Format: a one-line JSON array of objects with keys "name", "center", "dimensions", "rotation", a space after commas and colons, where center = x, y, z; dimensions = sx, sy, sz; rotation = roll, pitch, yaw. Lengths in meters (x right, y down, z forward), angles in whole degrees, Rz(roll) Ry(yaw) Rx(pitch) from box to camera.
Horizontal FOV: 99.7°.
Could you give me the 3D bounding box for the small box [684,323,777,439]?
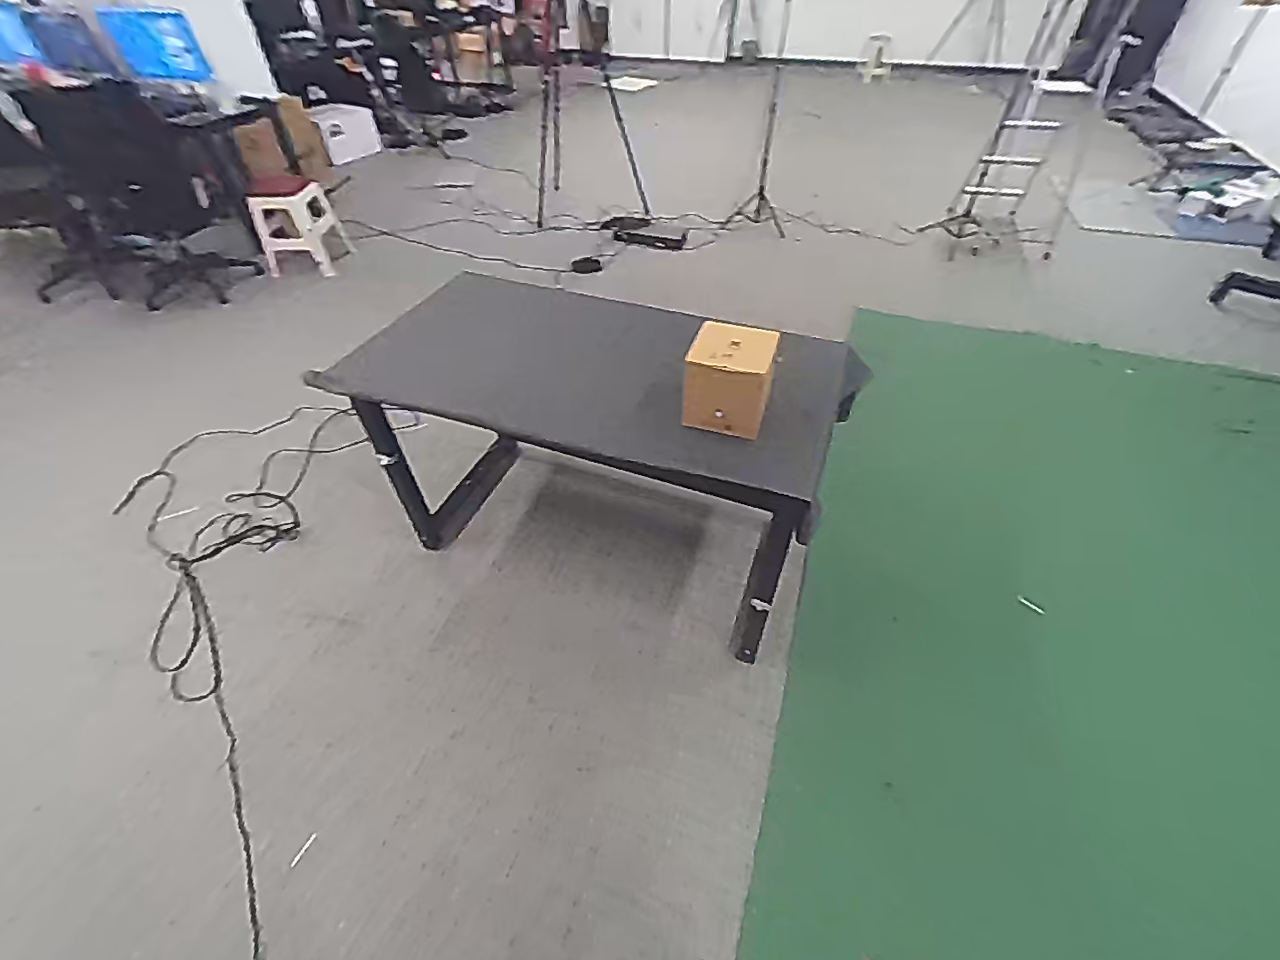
[{"name": "small box", "center": [0.193, -0.217, 1.180], "dimensions": [0.168, 0.176, 0.179], "rotation": [12, 47, 15]}]
